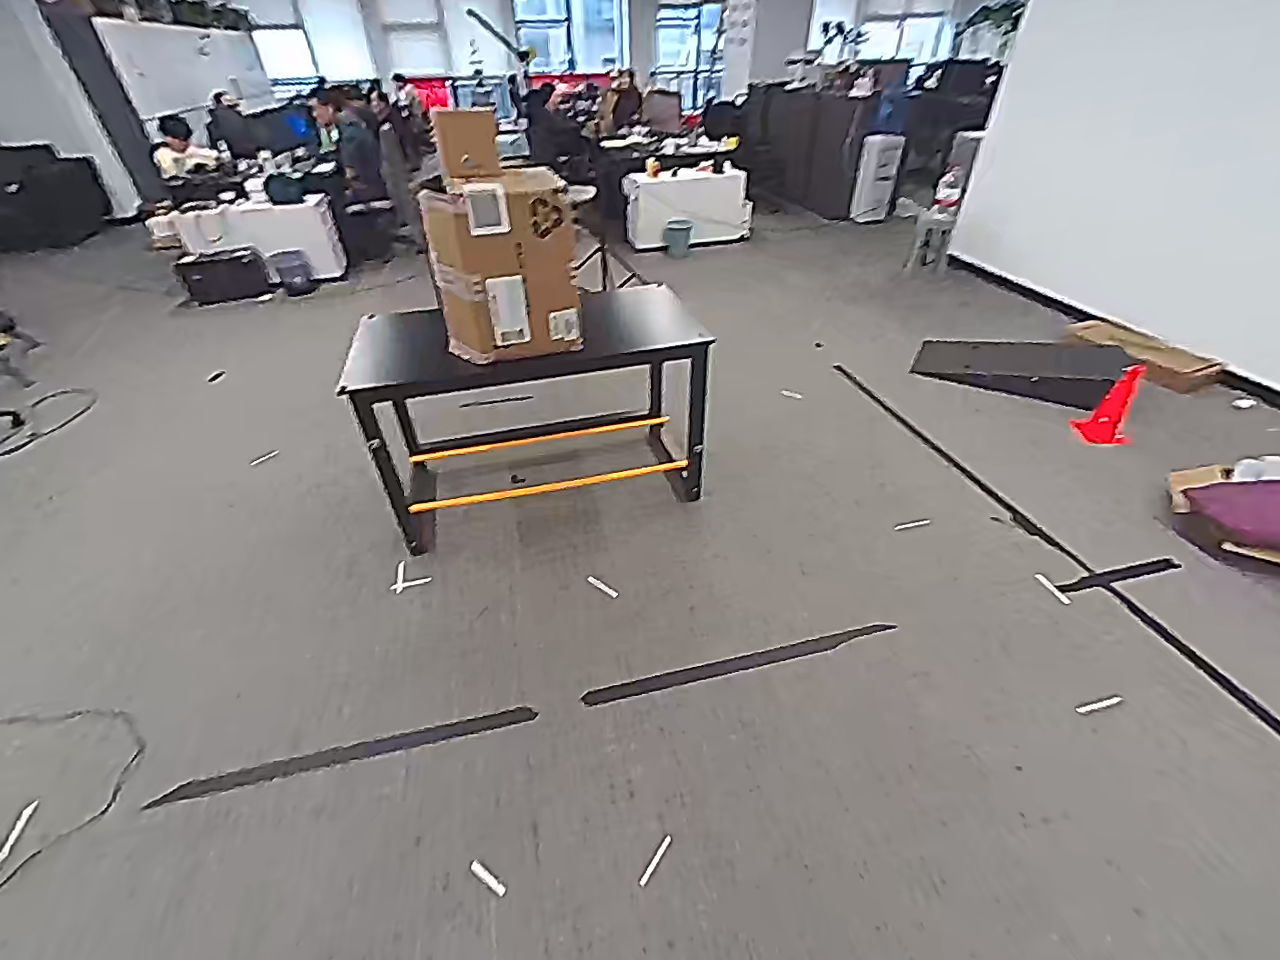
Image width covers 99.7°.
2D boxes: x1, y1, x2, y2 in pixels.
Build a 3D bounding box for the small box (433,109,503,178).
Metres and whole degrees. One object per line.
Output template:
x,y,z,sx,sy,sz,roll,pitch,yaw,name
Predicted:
-0.521,-1.024,1.642,0.168,0.176,0.179,-14,39,-17,small box
